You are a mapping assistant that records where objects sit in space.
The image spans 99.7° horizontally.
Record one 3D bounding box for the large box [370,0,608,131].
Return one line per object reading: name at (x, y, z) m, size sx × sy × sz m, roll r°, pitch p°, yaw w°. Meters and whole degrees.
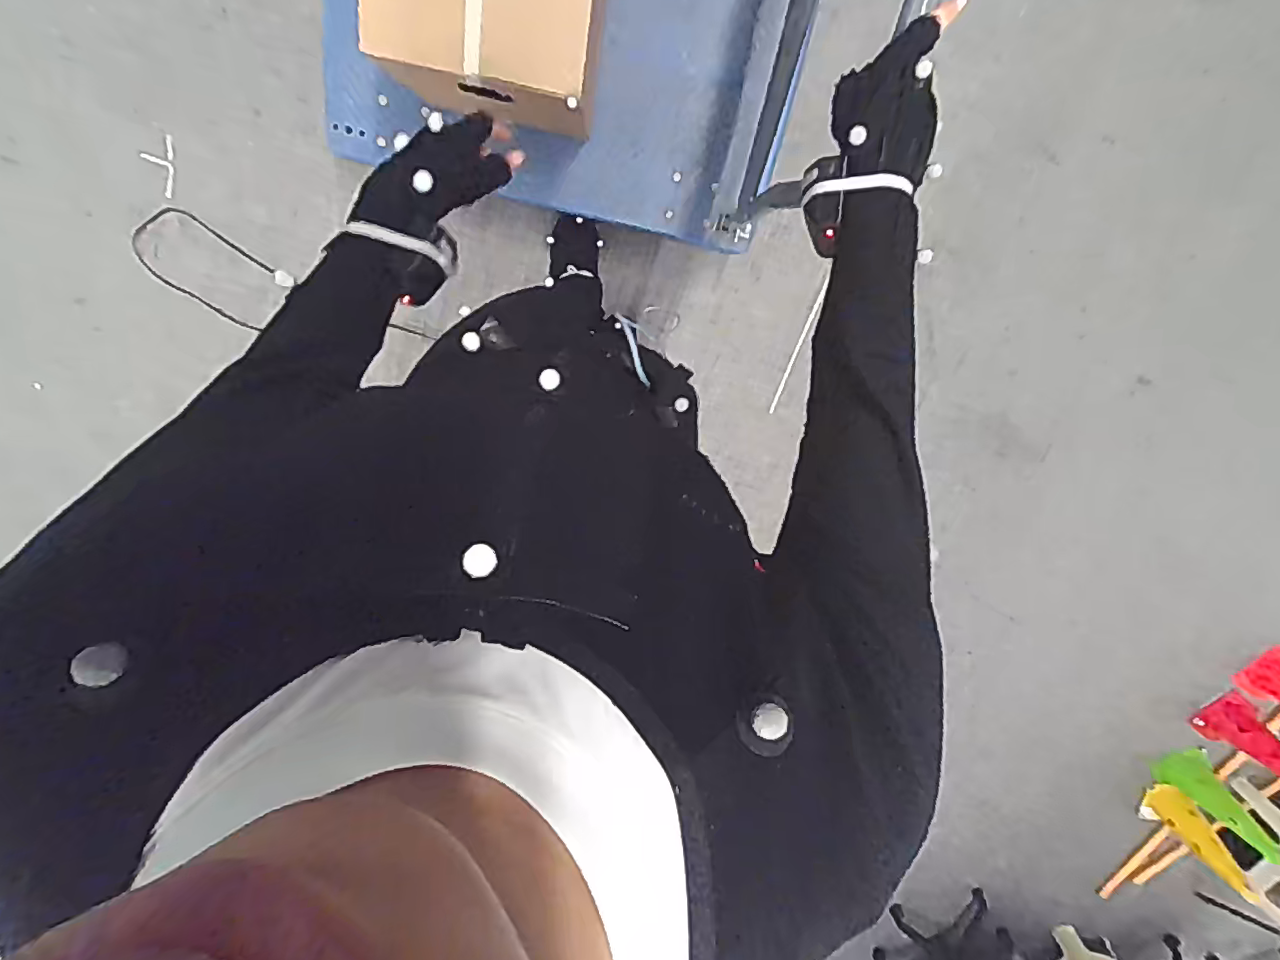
large box at (-0.202, -0.823, 0.832) m, size 0.320 × 0.320 × 0.408 m, roll 9°, pitch 114°, yaw -5°
